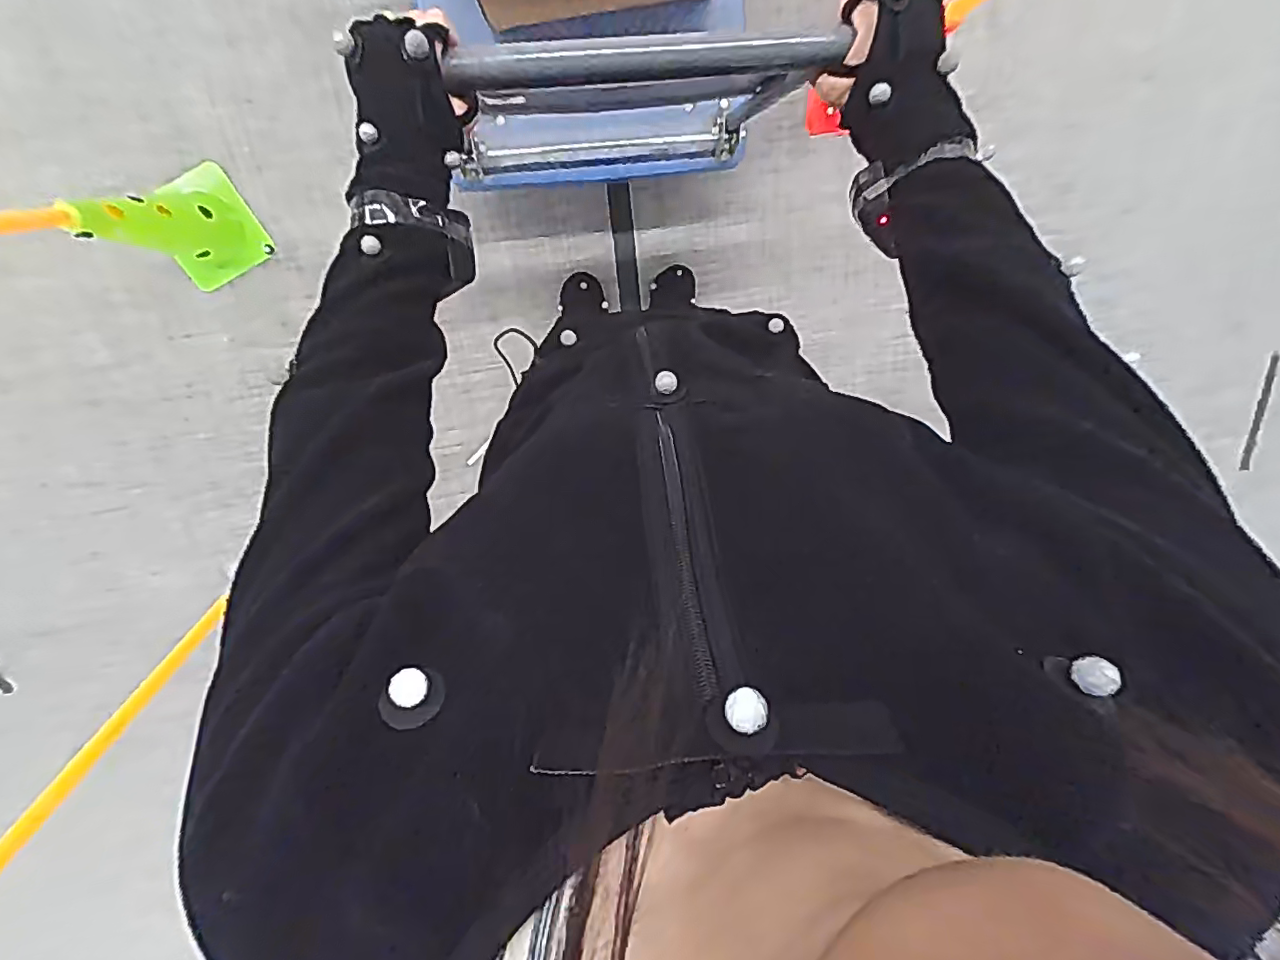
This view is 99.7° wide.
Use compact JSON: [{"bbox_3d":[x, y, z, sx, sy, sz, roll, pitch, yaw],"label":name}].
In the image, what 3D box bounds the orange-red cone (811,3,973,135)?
[{"bbox_3d":[0.498,-0.810,1.027,0.199,0.360,0.198,-3,112,-6],"label":"orange-red cone"}]
